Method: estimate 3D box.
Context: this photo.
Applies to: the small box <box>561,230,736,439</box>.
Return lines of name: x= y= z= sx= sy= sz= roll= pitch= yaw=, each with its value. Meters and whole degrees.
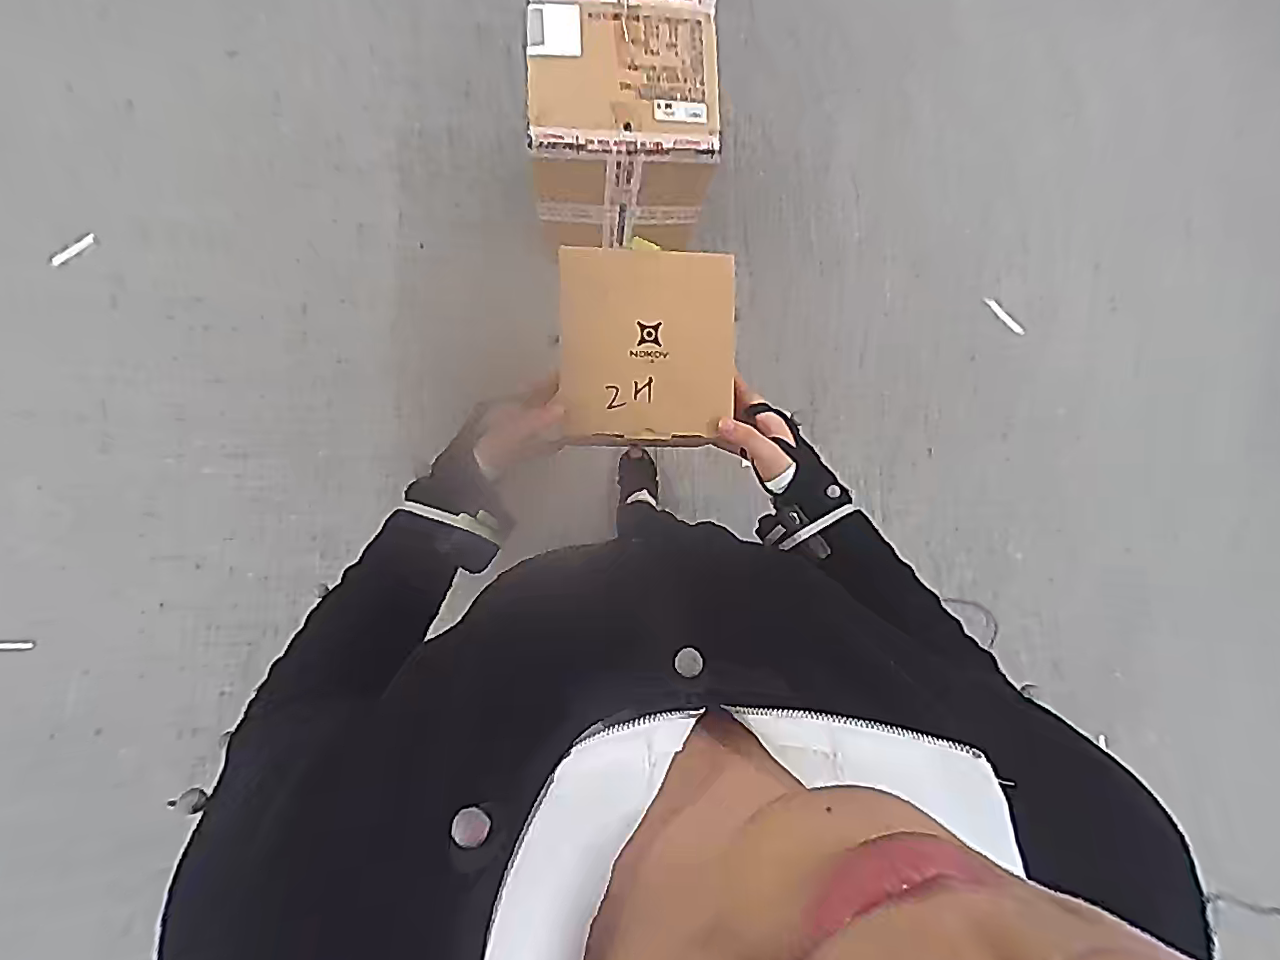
small box: x=0.000 y=-0.141 z=0.584 sx=0.168 sy=0.176 sz=0.179 roll=0 pitch=89 yaw=-6
